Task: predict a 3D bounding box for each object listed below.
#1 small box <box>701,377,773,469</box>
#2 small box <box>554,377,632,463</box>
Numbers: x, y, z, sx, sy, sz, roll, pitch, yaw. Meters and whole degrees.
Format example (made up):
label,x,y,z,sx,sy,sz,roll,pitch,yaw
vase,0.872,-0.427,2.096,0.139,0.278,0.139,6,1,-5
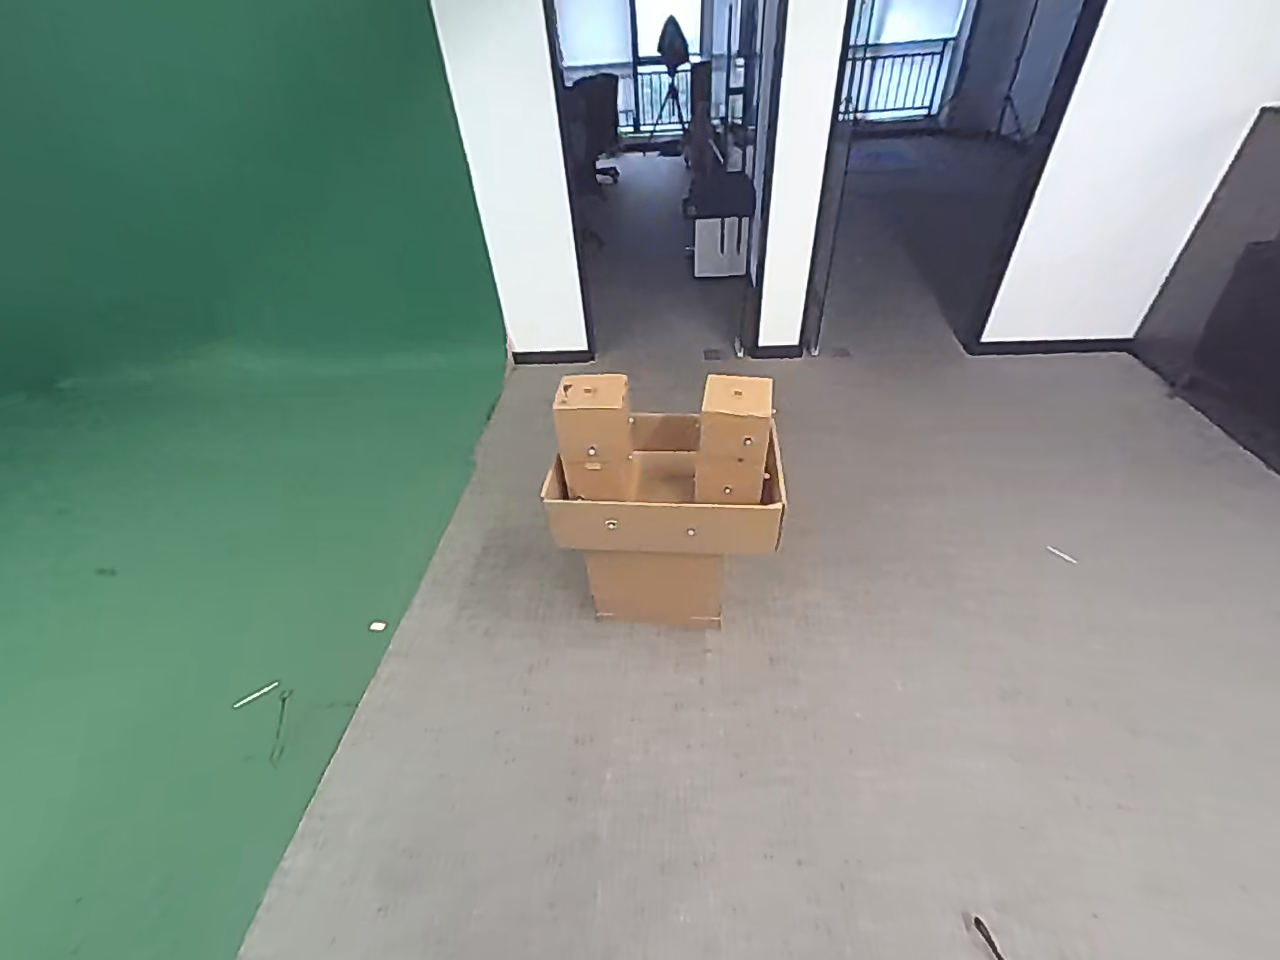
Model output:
label,x,y,z,sx,sy,sz,roll,pitch,yaw
small box,0.246,-0.145,1.382,0.168,0.176,0.179,6,40,10
small box,-0.117,-0.157,1.431,0.179,0.176,0.168,0,40,5
